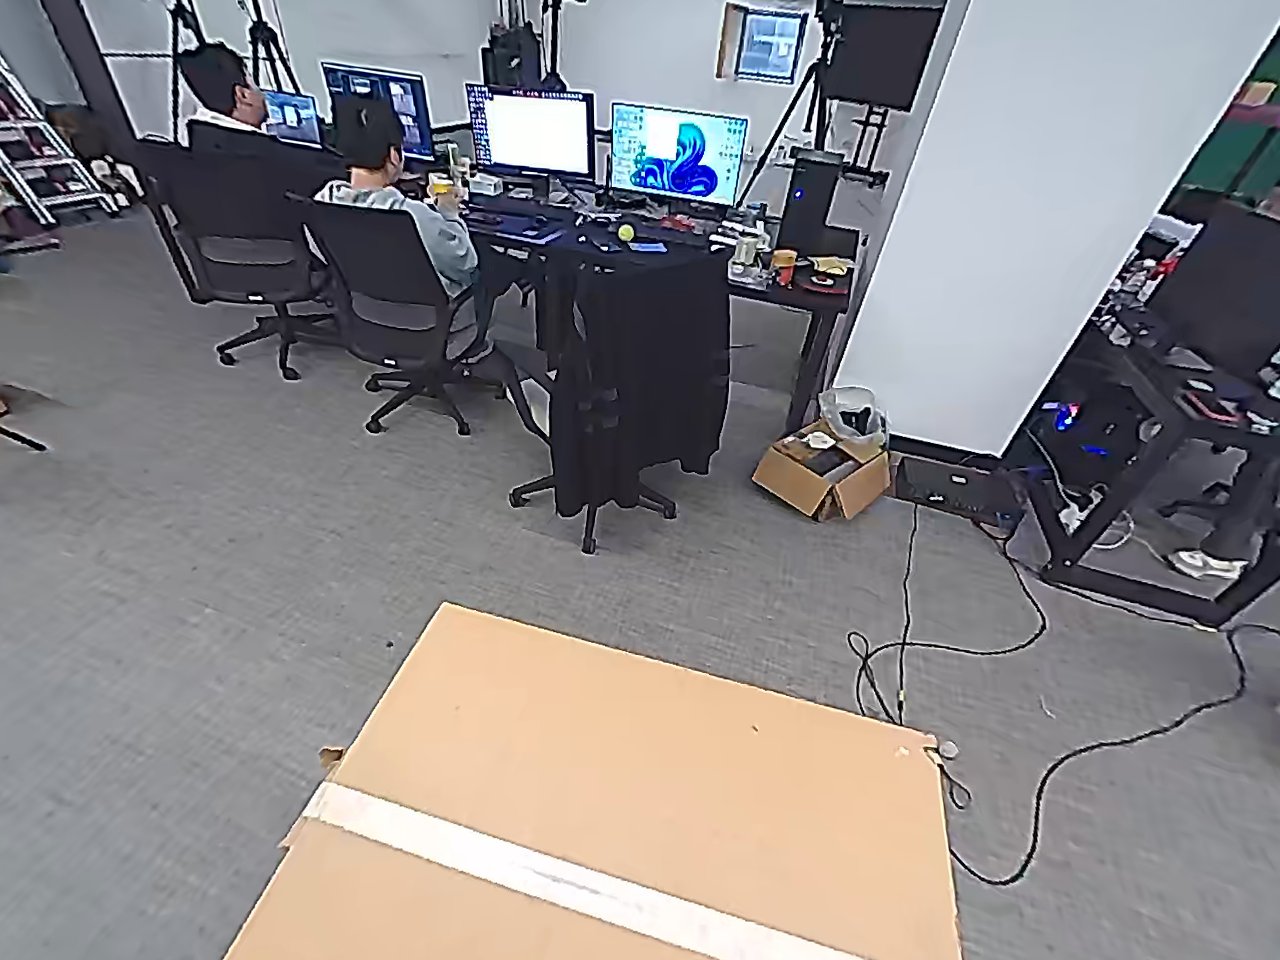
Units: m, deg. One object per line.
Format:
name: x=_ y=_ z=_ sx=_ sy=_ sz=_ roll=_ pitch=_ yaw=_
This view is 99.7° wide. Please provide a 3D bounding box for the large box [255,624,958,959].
large box: x=-0.019 y=0.369 z=0.436 sx=0.408 sy=0.320 sz=0.320 roll=13 pitch=46 yaw=8
